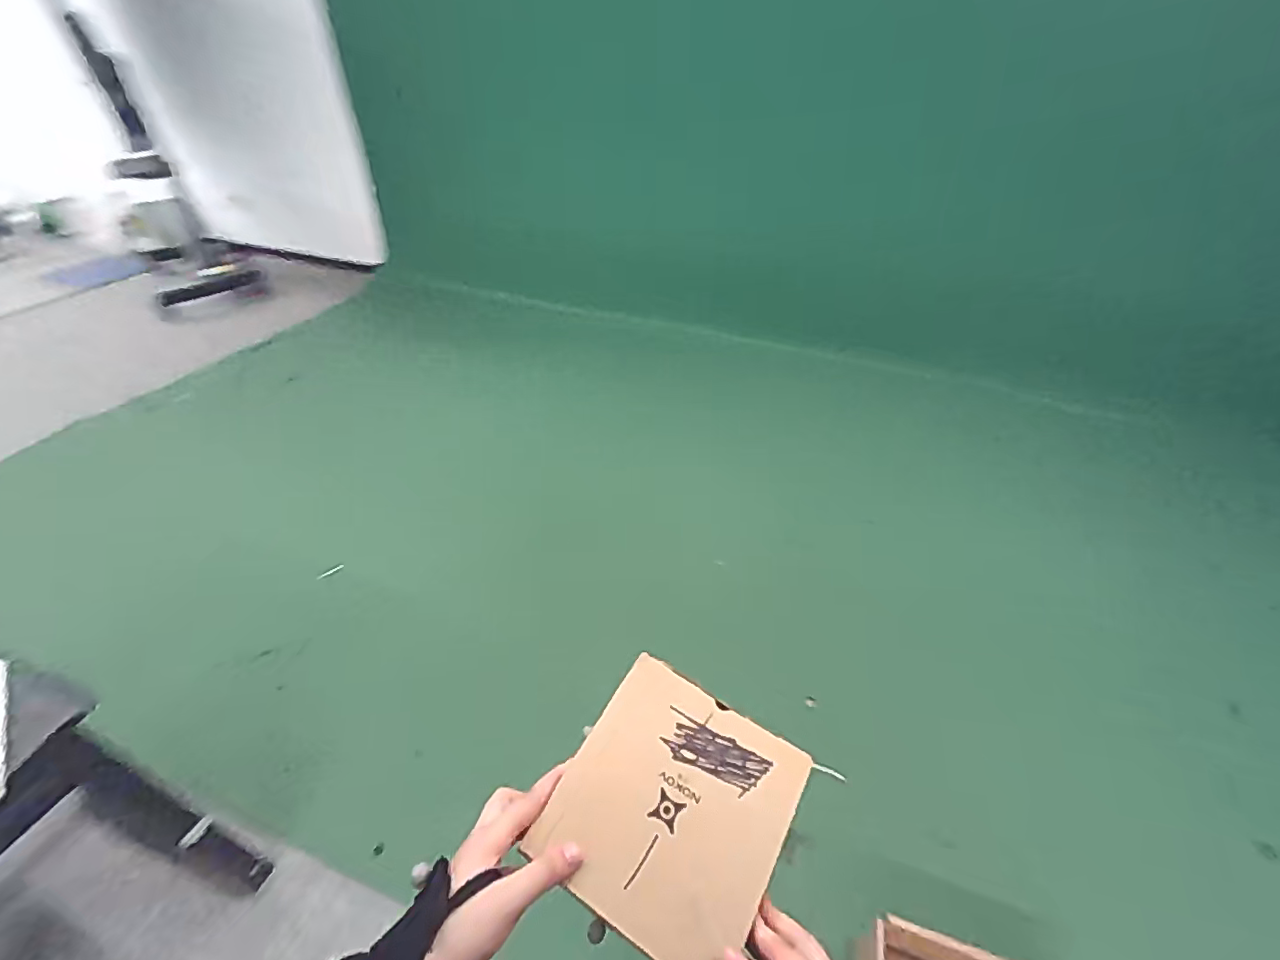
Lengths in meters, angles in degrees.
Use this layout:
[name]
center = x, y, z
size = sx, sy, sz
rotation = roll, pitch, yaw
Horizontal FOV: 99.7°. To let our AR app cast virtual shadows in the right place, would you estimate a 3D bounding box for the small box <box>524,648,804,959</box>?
[small box]
center = 0.019, 0.291, 0.482
size = 0.168, 0.176, 0.179
rotation = 27, 55, 16
